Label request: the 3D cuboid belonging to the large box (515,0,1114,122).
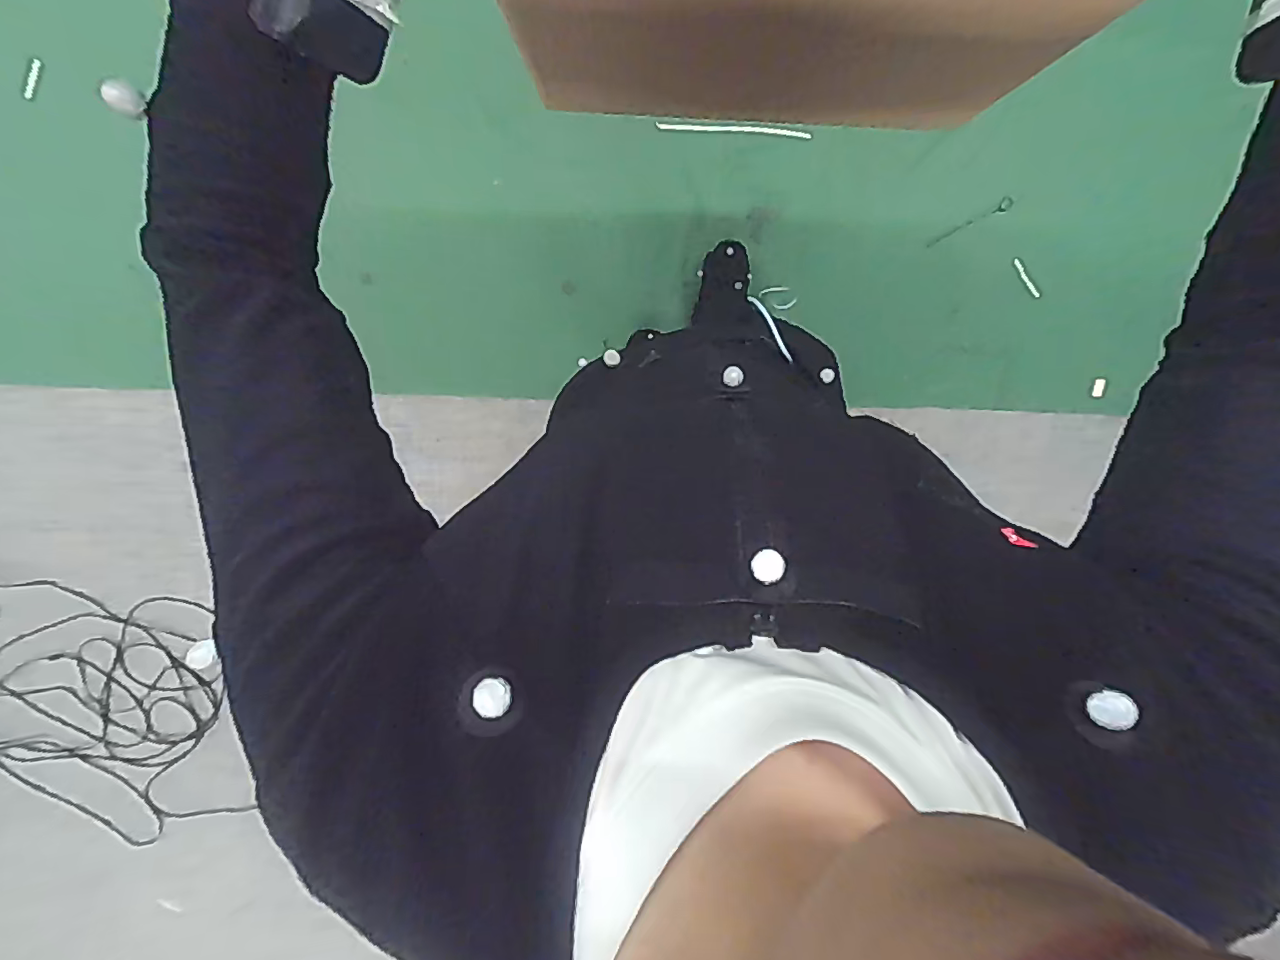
[{"bbox_3d":[0.114,-0.467,0.351,0.408,0.320,0.320,2,105,-1],"label":"large box"}]
